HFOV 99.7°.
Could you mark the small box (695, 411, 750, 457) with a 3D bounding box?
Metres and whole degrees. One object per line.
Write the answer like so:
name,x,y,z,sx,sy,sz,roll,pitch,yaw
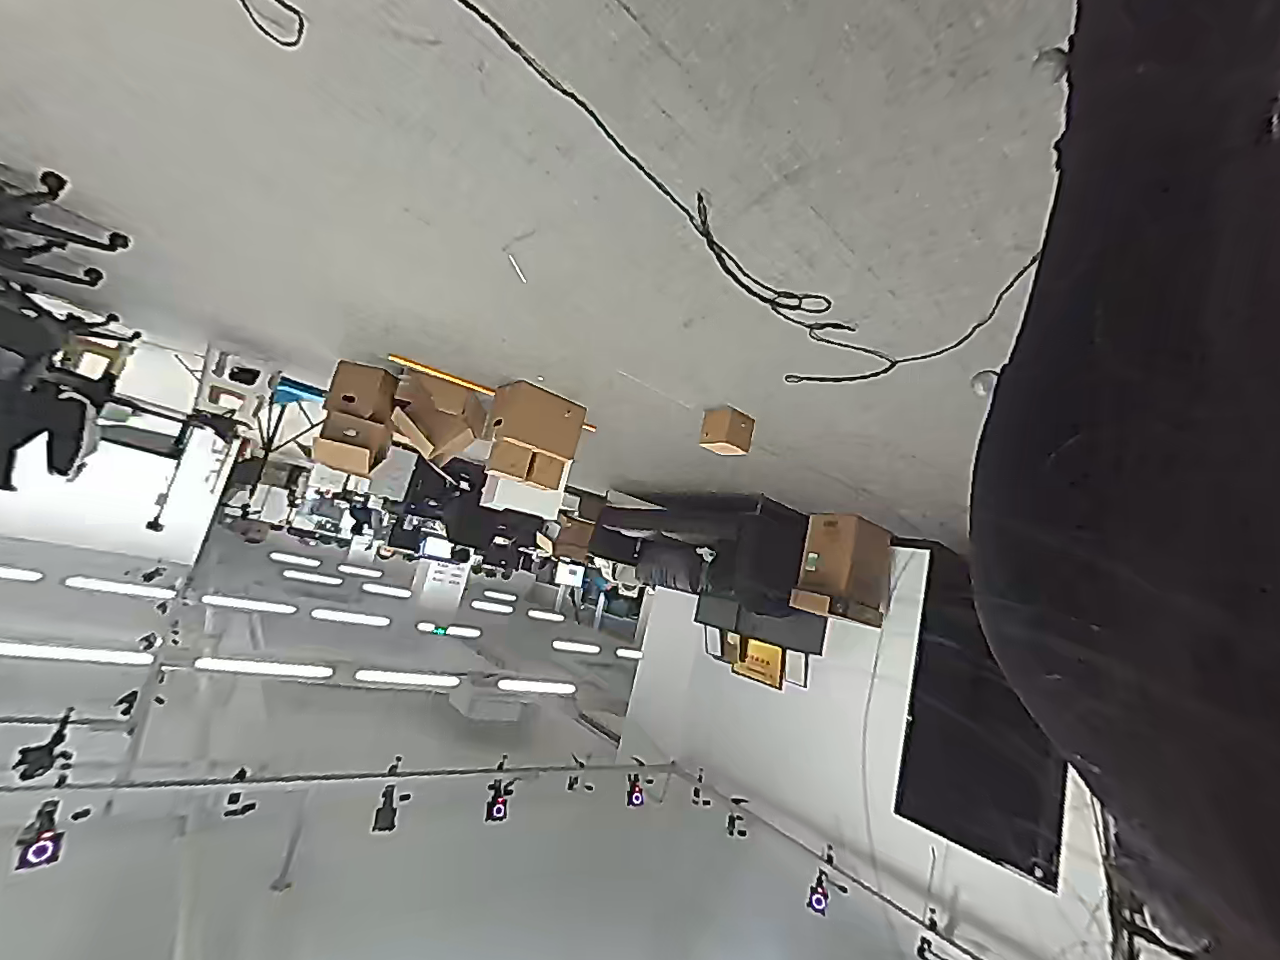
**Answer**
small box,0.388,-0.211,2.505,0.168,0.176,0.179,20,168,-36
